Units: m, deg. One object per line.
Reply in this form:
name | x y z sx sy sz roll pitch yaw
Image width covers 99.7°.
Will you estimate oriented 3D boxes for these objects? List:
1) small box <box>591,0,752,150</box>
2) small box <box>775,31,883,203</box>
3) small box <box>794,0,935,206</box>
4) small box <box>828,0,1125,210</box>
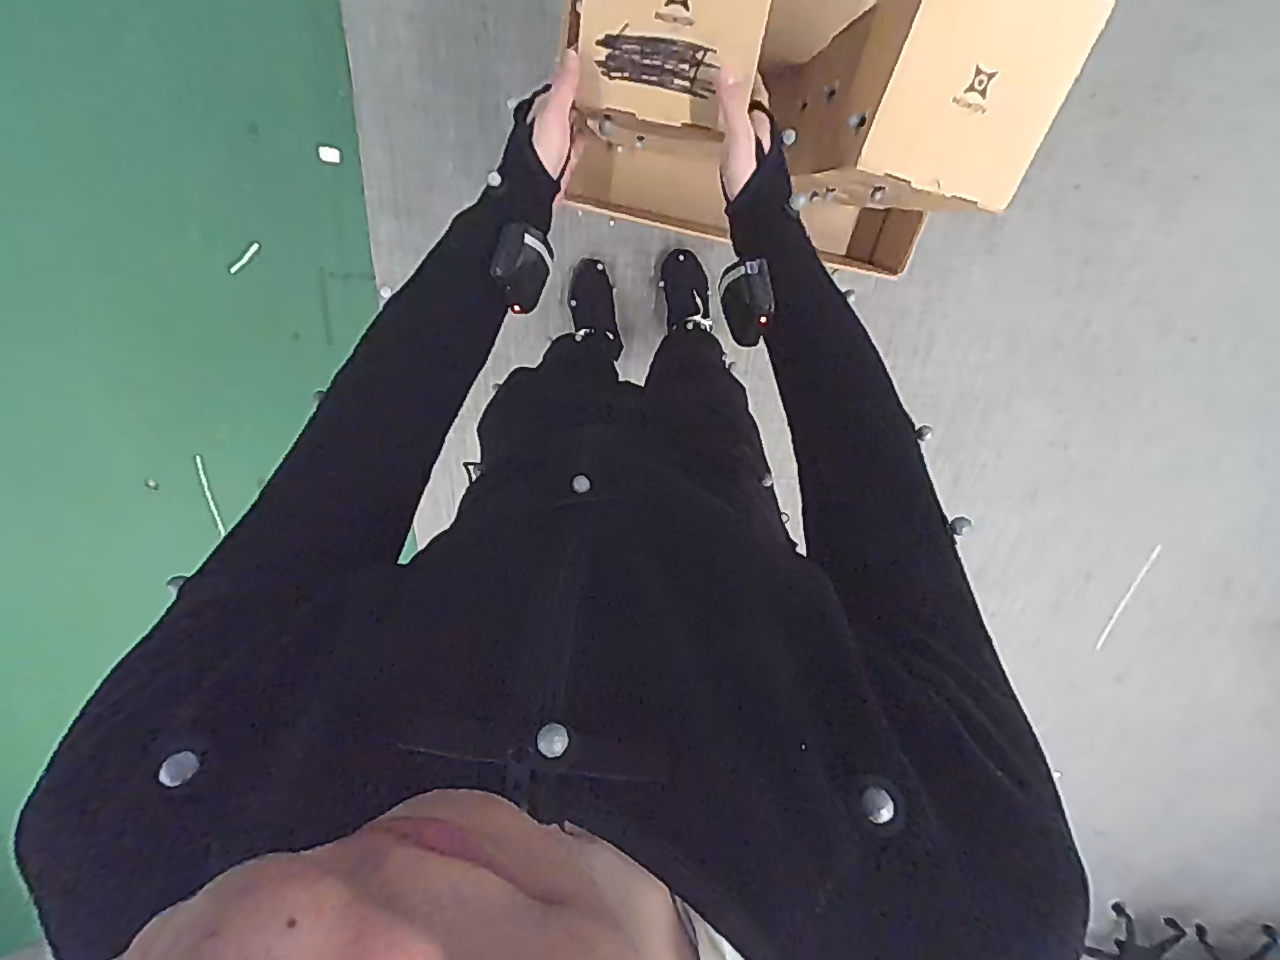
small box | 0.035 -0.534 0.679 0.168 0.176 0.179 8 118 -3
small box | 0.327 -0.555 0.850 0.168 0.176 0.179 14 118 -6
small box | 0.320 -0.477 0.707 0.168 0.176 0.179 14 118 -6
small box | 0.320 -0.399 0.564 0.168 0.176 0.179 13 118 -6
